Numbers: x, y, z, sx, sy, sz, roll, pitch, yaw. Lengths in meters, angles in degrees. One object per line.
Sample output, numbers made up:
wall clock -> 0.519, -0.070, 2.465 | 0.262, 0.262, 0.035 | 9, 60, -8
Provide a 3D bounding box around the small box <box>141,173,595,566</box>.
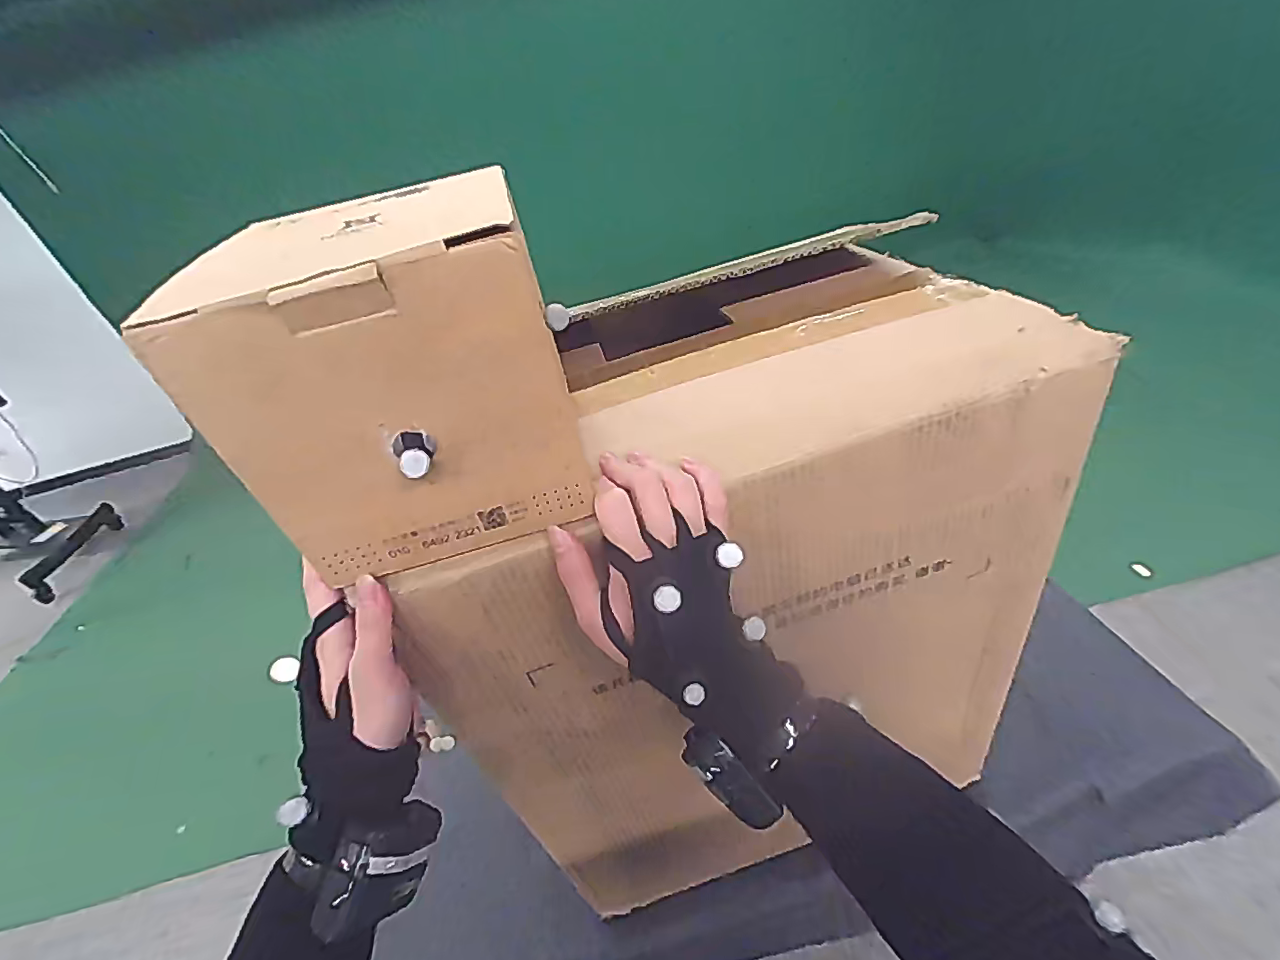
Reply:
small box -> -0.134, -0.067, 0.341 | 0.168, 0.176, 0.179 | -16, 41, -5
